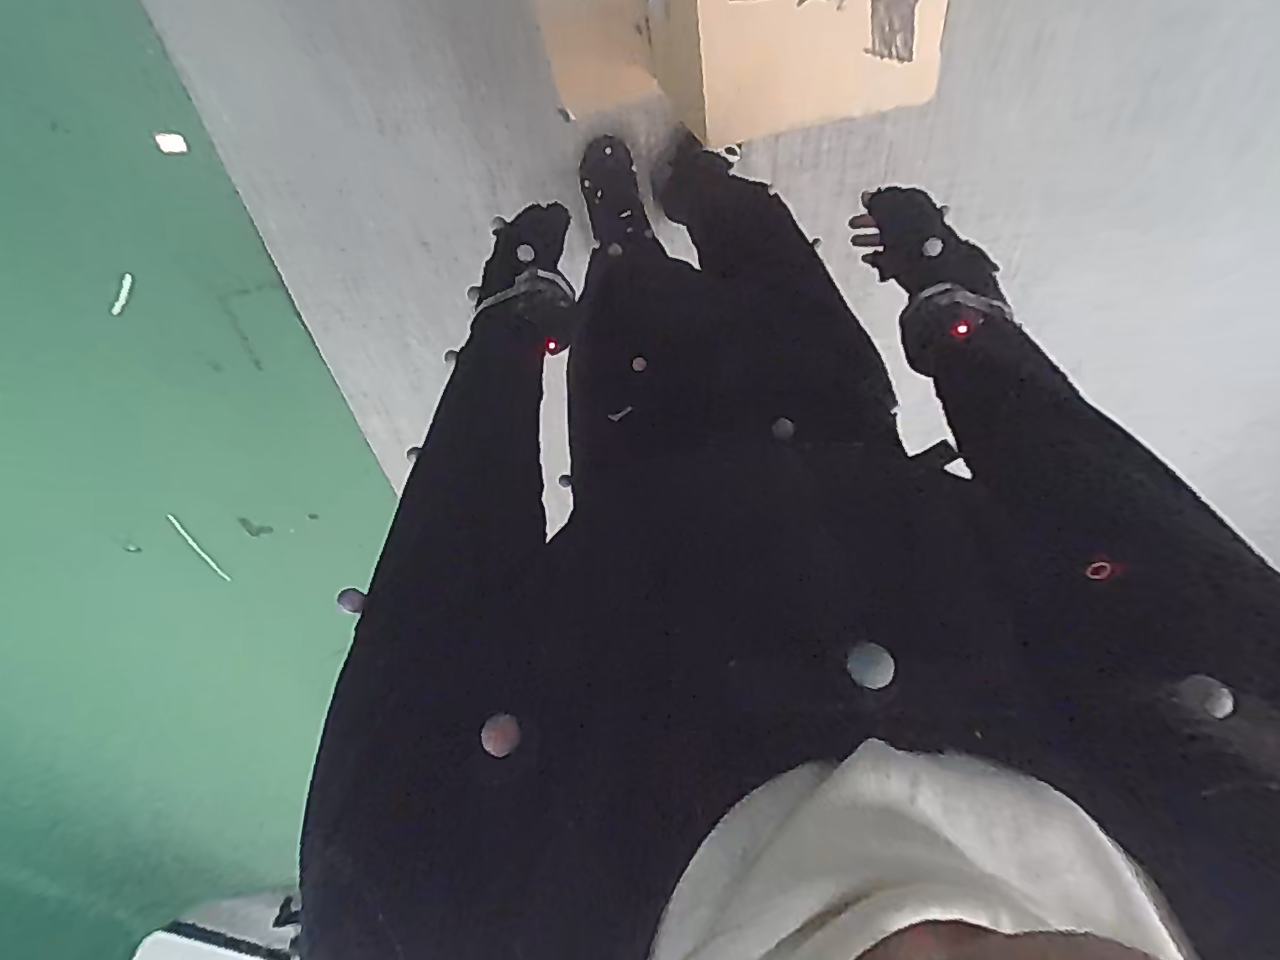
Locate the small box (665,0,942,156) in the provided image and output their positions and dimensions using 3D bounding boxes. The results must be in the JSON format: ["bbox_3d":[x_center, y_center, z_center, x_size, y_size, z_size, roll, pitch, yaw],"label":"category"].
[{"bbox_3d":[0.117,-0.382,0.430,0.179,0.176,0.168,-10,131,3],"label":"small box"}]

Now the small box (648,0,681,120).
[{"bbox_3d":[0.098,-0.496,0.548,0.168,0.176,0.179,-12,132,3],"label":"small box"}]

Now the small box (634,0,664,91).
[{"bbox_3d":[0.083,-0.604,0.670,0.179,0.176,0.168,-12,131,2],"label":"small box"}]
